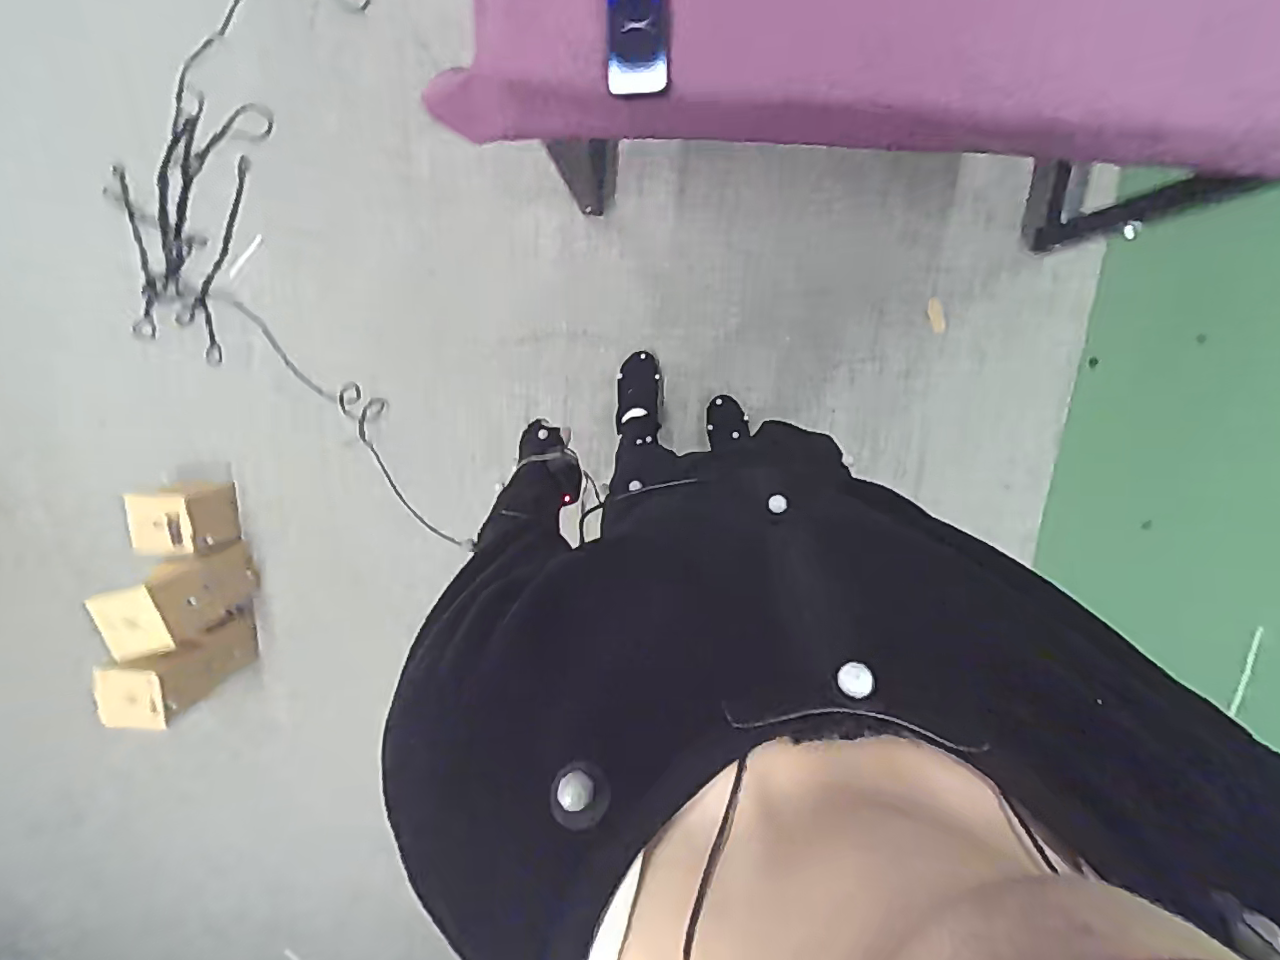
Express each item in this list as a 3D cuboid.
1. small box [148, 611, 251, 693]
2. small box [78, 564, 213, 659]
[{"bbox_3d":[-1.292,0.497,1.595,0.168,0.176,0.179,4,103,3],"label":"small box"},{"bbox_3d":[-1.253,0.331,1.391,0.179,0.176,0.168,-13,102,6],"label":"small box"}]
